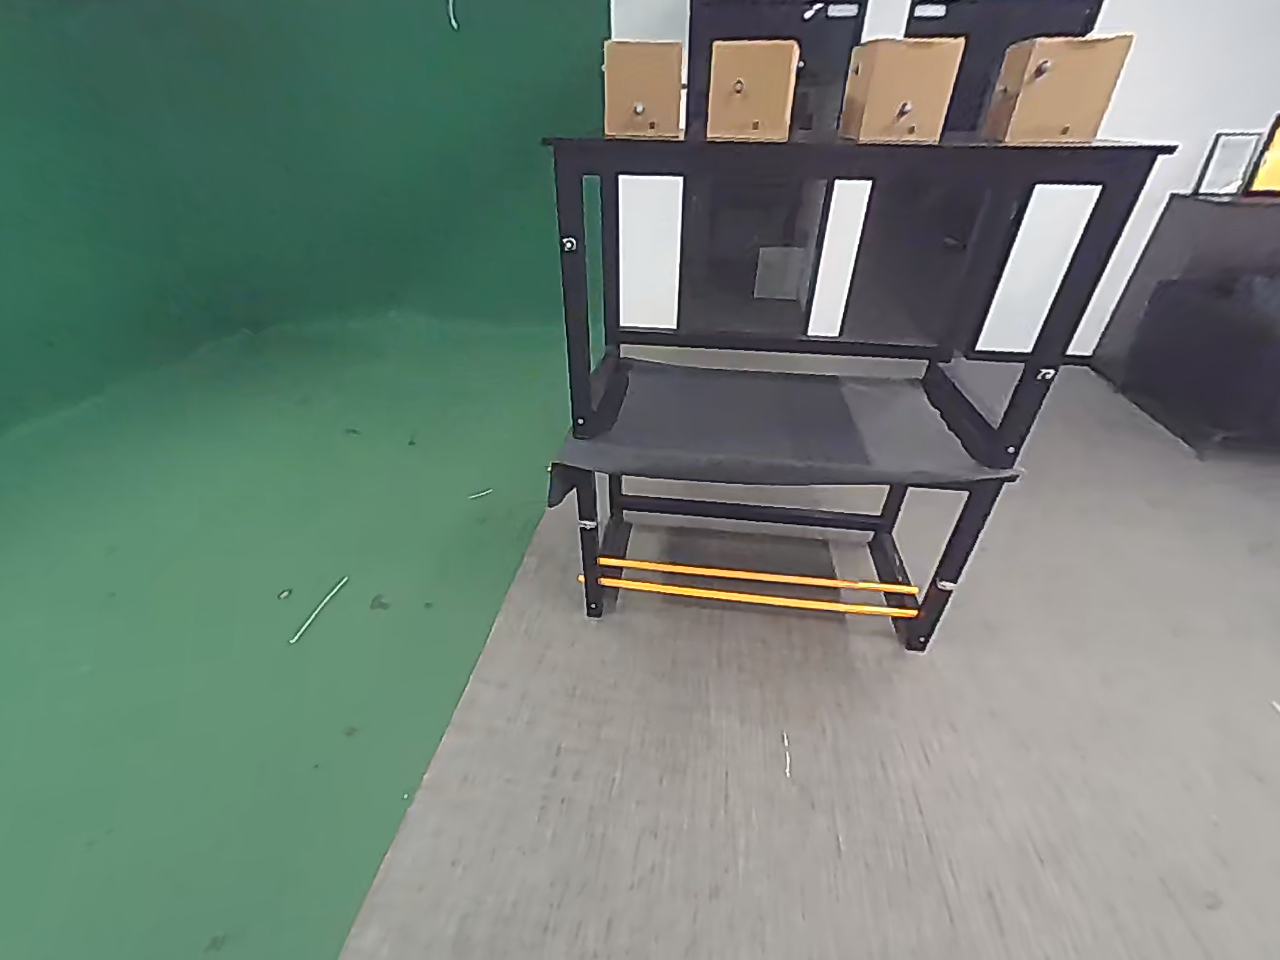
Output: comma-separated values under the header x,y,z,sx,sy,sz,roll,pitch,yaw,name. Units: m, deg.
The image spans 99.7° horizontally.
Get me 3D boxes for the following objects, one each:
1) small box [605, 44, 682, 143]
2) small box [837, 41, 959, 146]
x,y,z,sx,sy,sz,roll,pitch,yaw,name
0.007,-0.878,1.236,0.168,0.176,0.179,1,35,0,small box
0.536,-0.818,1.153,0.168,0.176,0.179,1,34,2,small box
